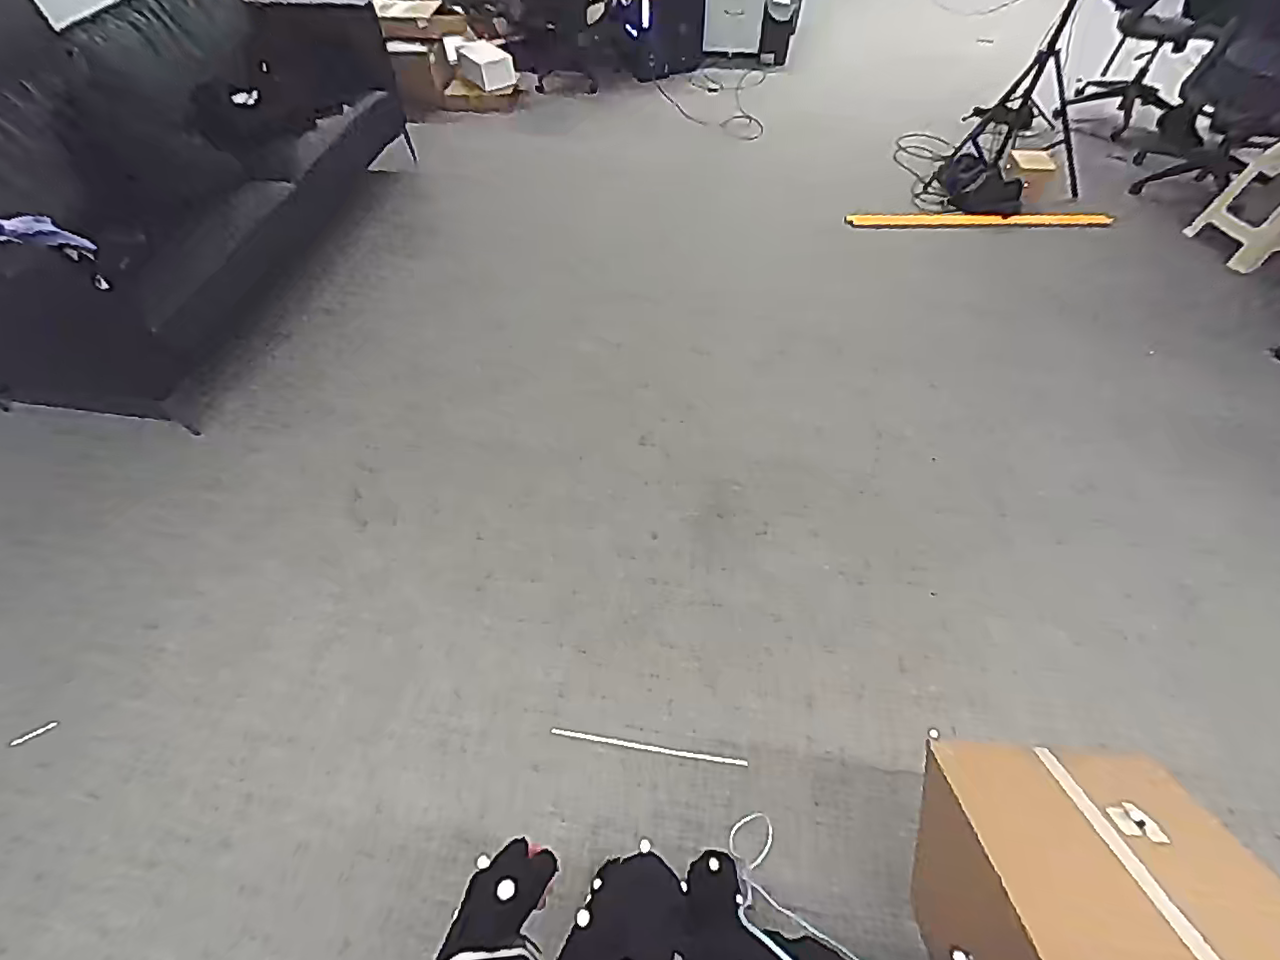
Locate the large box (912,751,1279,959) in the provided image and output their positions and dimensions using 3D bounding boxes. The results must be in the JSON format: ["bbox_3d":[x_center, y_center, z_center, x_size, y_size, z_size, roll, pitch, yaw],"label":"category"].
[{"bbox_3d":[0.574,0.617,0.672,0.320,0.320,0.408,1,13,8],"label":"large box"}]
